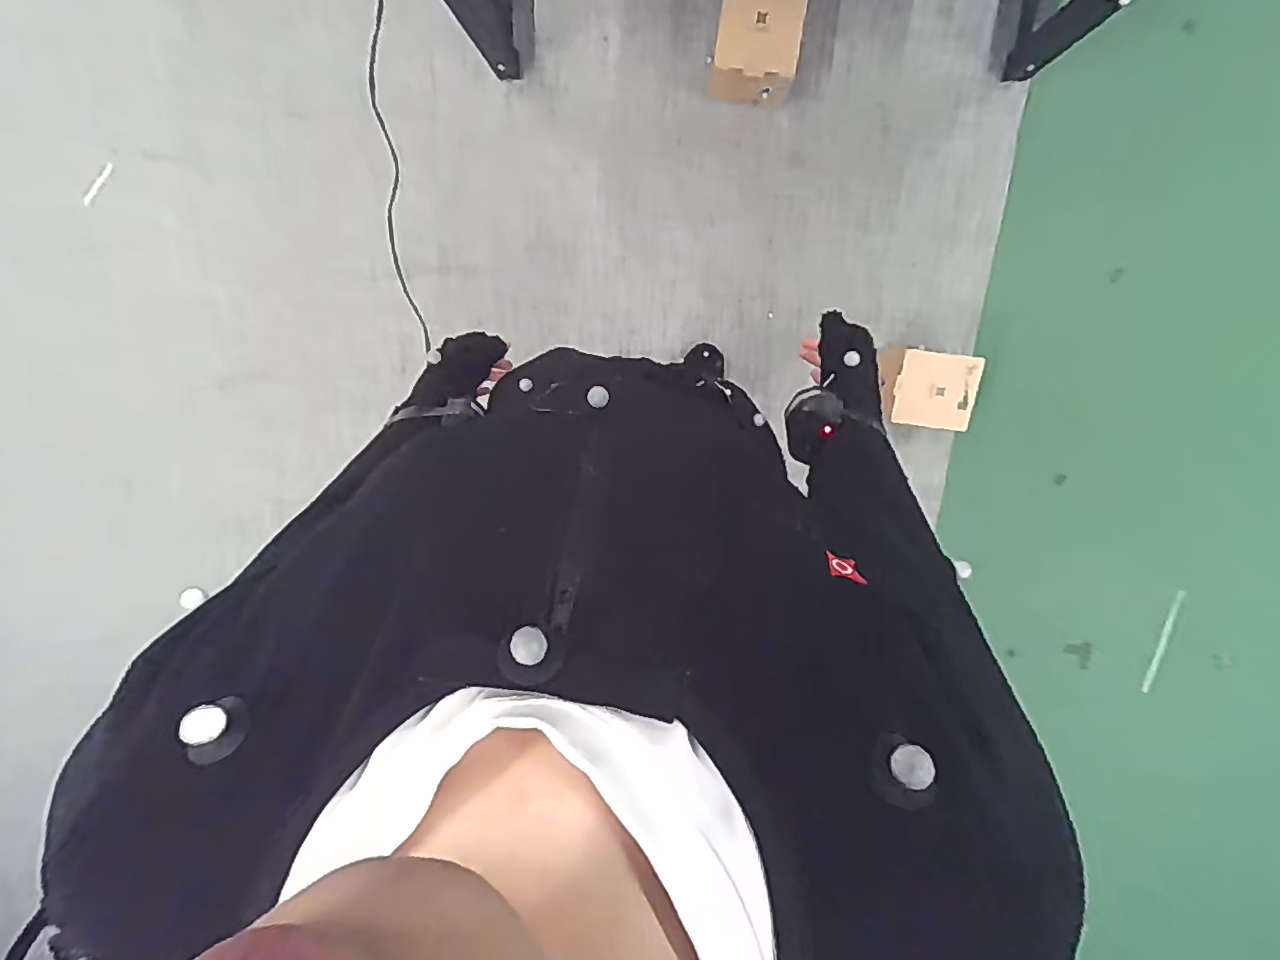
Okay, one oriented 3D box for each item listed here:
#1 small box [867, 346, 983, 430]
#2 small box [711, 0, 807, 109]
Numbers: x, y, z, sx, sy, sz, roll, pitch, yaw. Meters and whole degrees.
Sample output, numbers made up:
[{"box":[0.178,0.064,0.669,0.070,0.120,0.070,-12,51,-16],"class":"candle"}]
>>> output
[{"box":[0.664,-0.223,1.285,0.179,0.176,0.168,9,105,3],"class":"small box"},{"box":[0.244,-0.914,1.136,0.168,0.176,0.179,7,104,2],"class":"small box"}]
